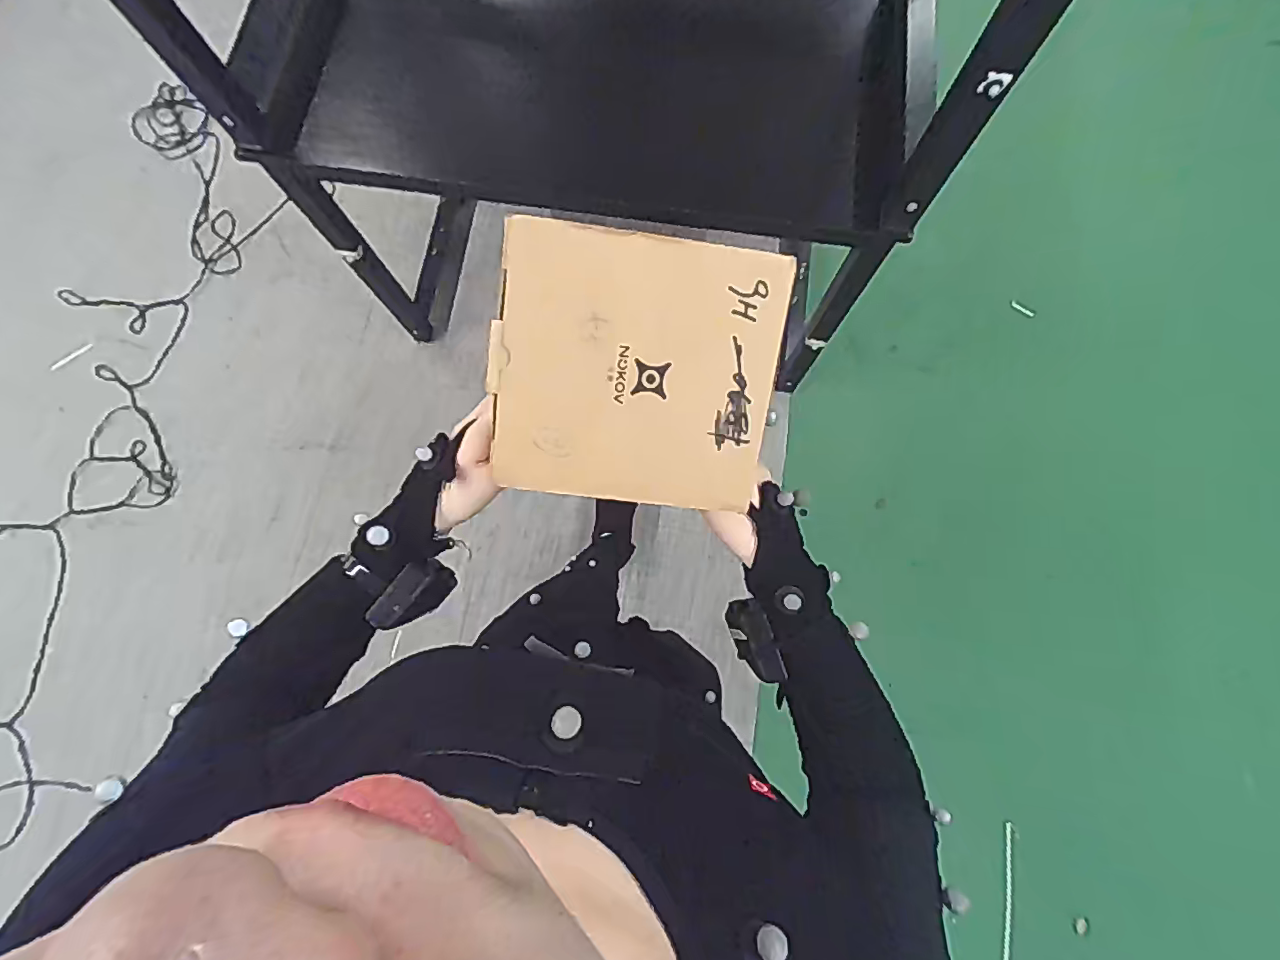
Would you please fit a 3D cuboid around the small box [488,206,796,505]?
[{"bbox_3d":[-0.005,-0.094,0.416,0.179,0.176,0.168,7,107,-4],"label":"small box"}]
